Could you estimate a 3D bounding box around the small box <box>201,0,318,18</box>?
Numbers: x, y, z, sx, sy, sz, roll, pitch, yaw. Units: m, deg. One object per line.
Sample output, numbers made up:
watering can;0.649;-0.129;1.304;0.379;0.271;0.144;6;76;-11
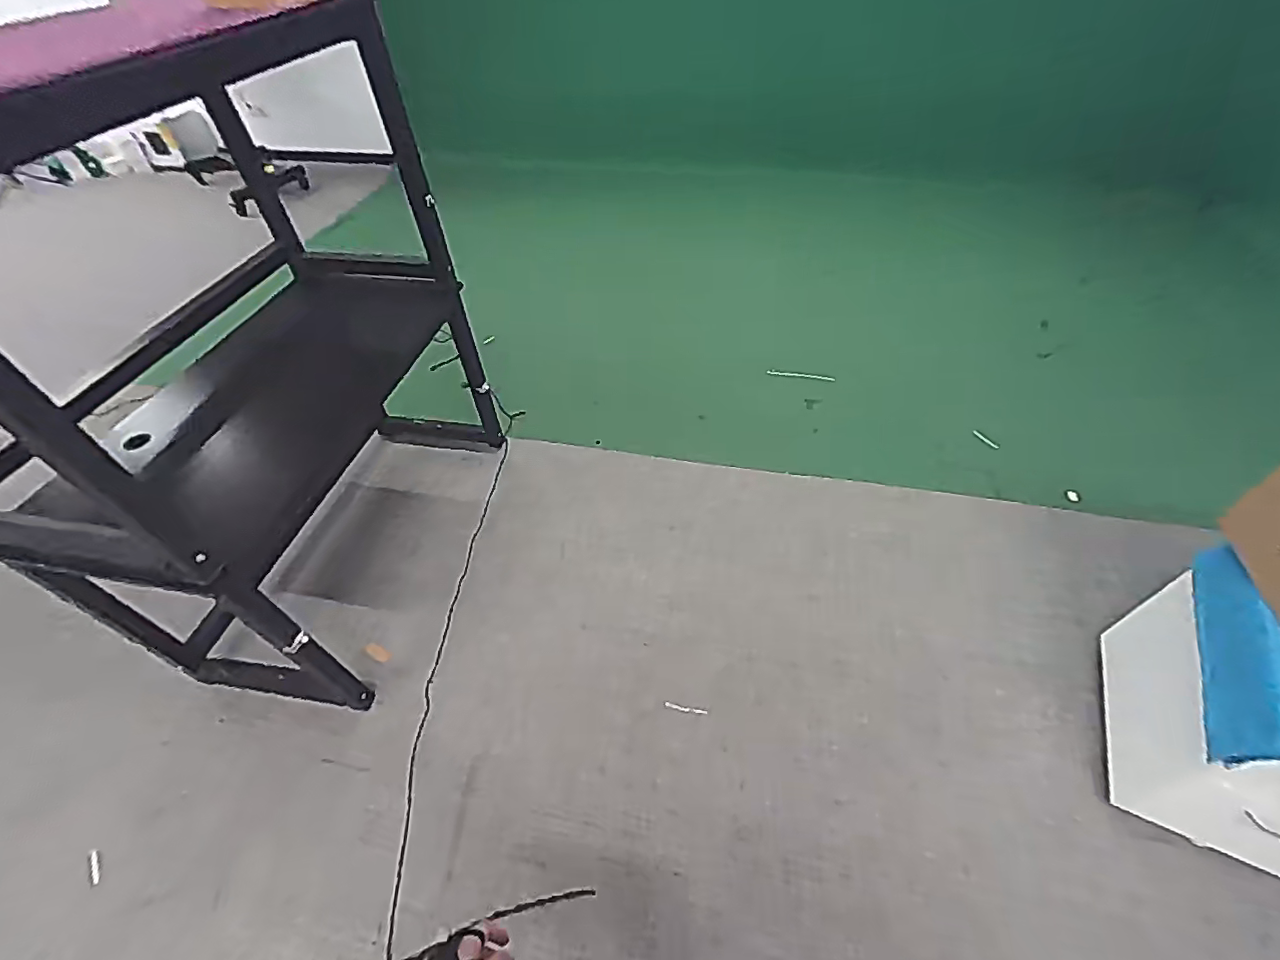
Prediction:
small box;-0.827;-1.085;1.129;0.179;0.176;0.168;7;49;8
